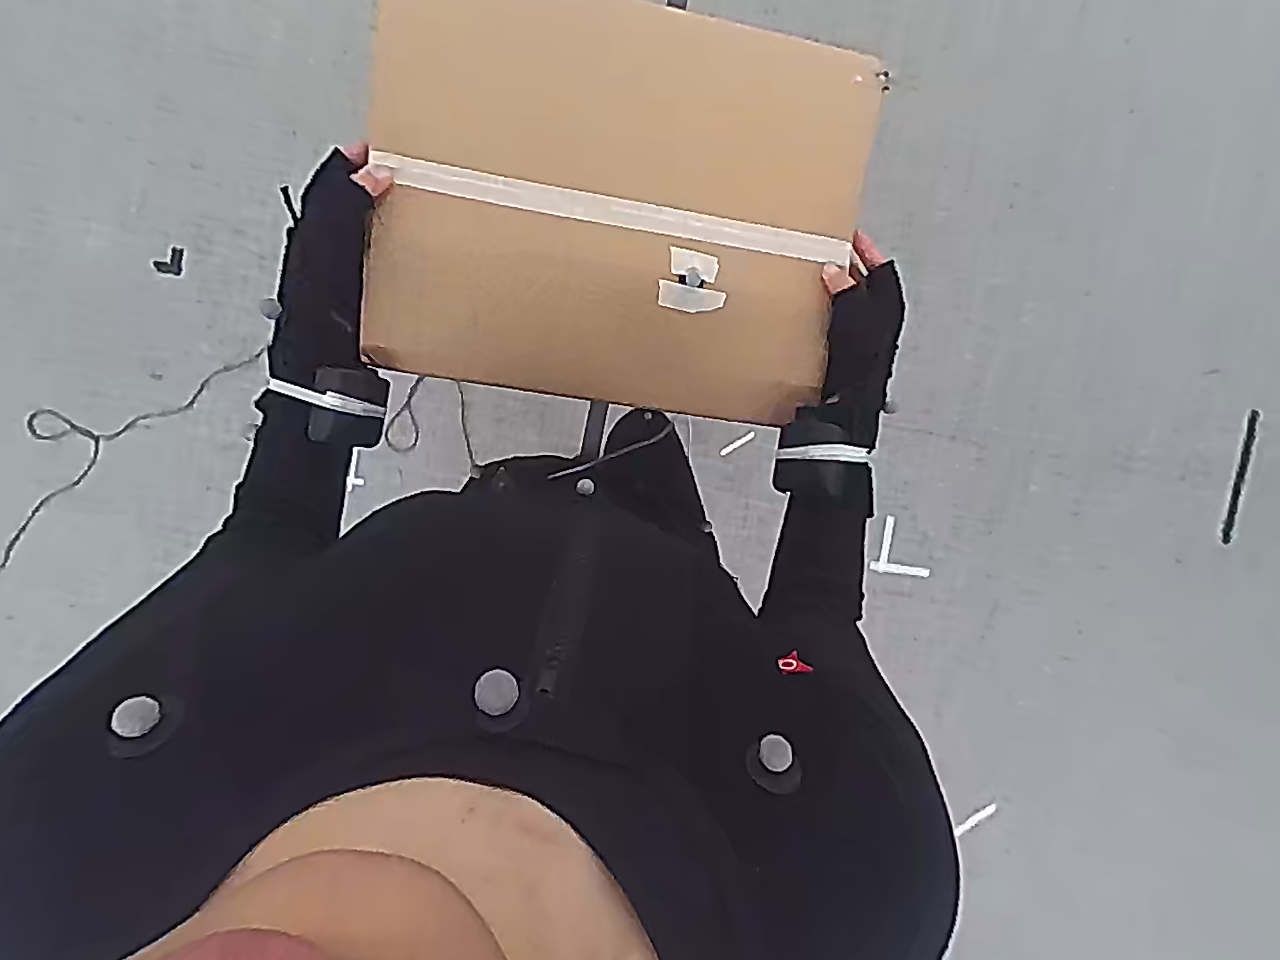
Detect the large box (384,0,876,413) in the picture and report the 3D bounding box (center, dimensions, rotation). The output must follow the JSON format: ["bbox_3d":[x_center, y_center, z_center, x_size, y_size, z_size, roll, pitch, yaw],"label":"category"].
[{"bbox_3d":[-0.027,-0.263,0.612,0.408,0.320,0.320,7,101,-8],"label":"large box"}]
